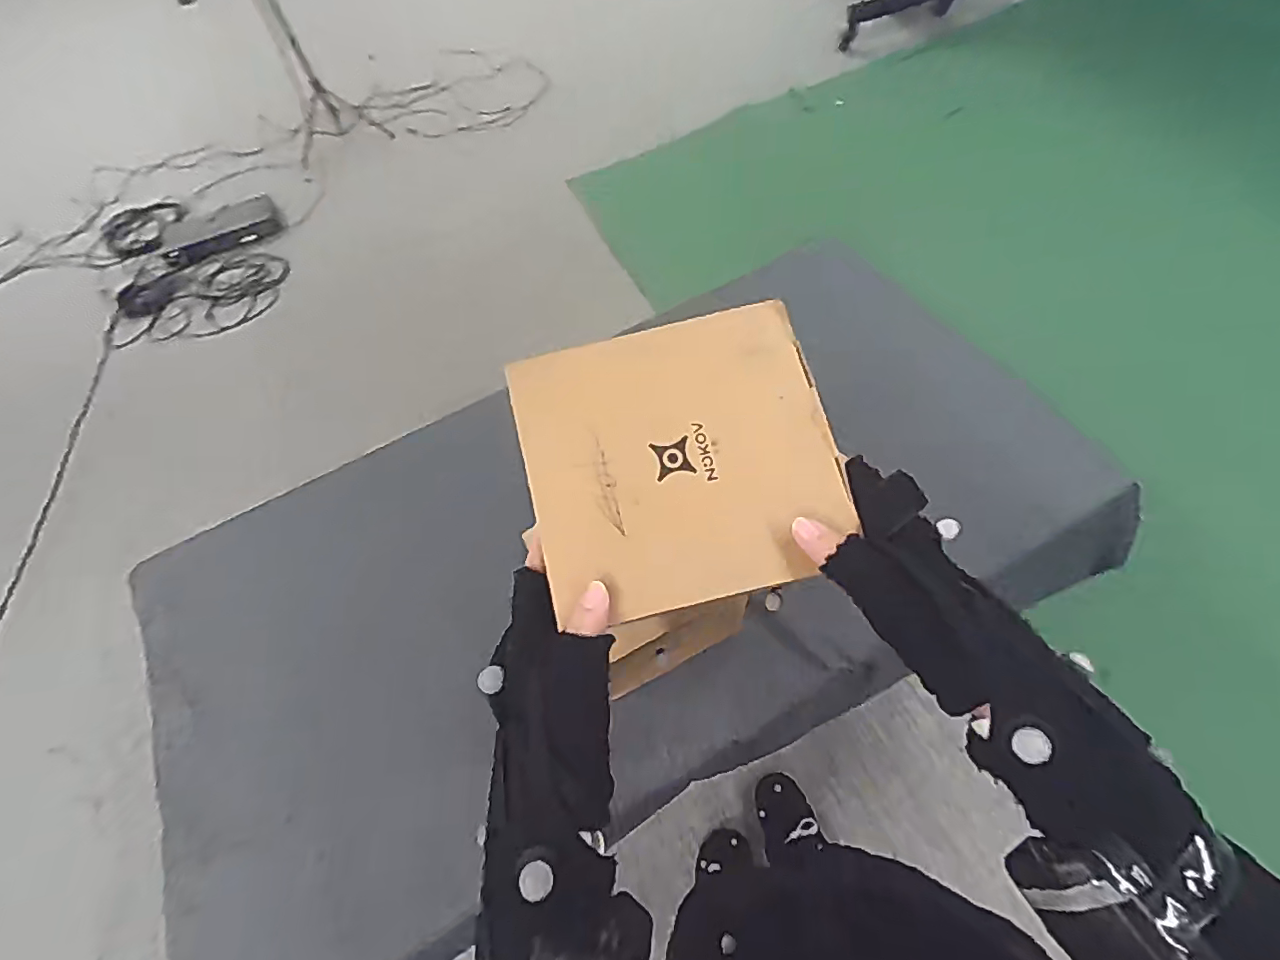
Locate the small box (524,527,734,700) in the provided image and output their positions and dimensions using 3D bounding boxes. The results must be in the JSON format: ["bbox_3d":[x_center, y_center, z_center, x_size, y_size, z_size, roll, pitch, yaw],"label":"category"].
[{"bbox_3d":[-0.002,0.125,0.616,0.179,0.176,0.168,-29,60,-11],"label":"small box"}]

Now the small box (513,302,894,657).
[{"bbox_3d":[0.031,0.011,0.376,0.179,0.176,0.168,-17,76,-3],"label":"small box"}]
